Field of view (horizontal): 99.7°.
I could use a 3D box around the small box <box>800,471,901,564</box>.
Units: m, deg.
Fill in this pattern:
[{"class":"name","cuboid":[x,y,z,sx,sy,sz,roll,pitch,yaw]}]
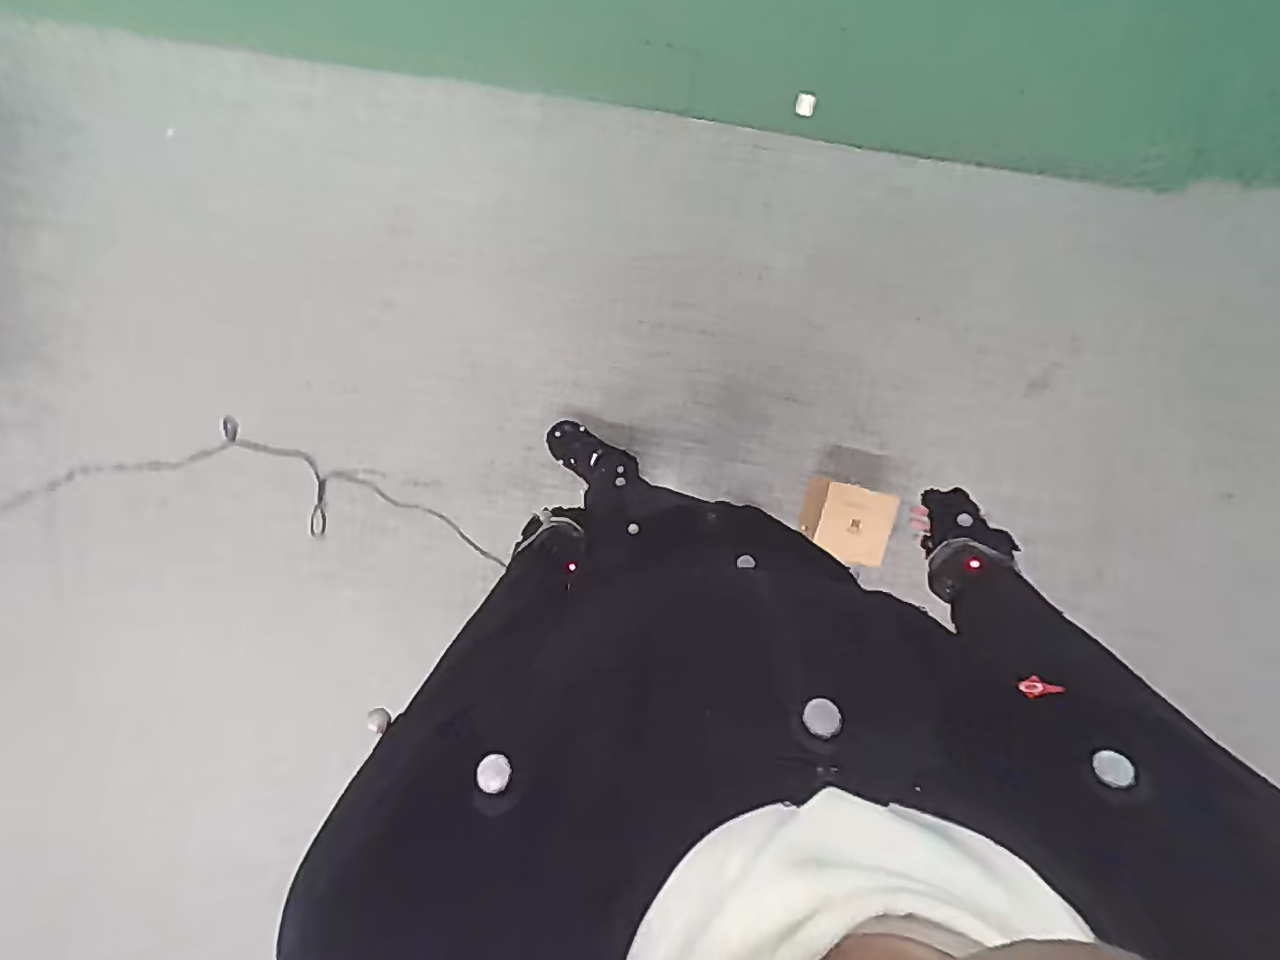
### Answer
[{"class":"small box","cuboid":[0.505,0.085,1.329,0.168,0.176,0.179,14,96,2]}]
